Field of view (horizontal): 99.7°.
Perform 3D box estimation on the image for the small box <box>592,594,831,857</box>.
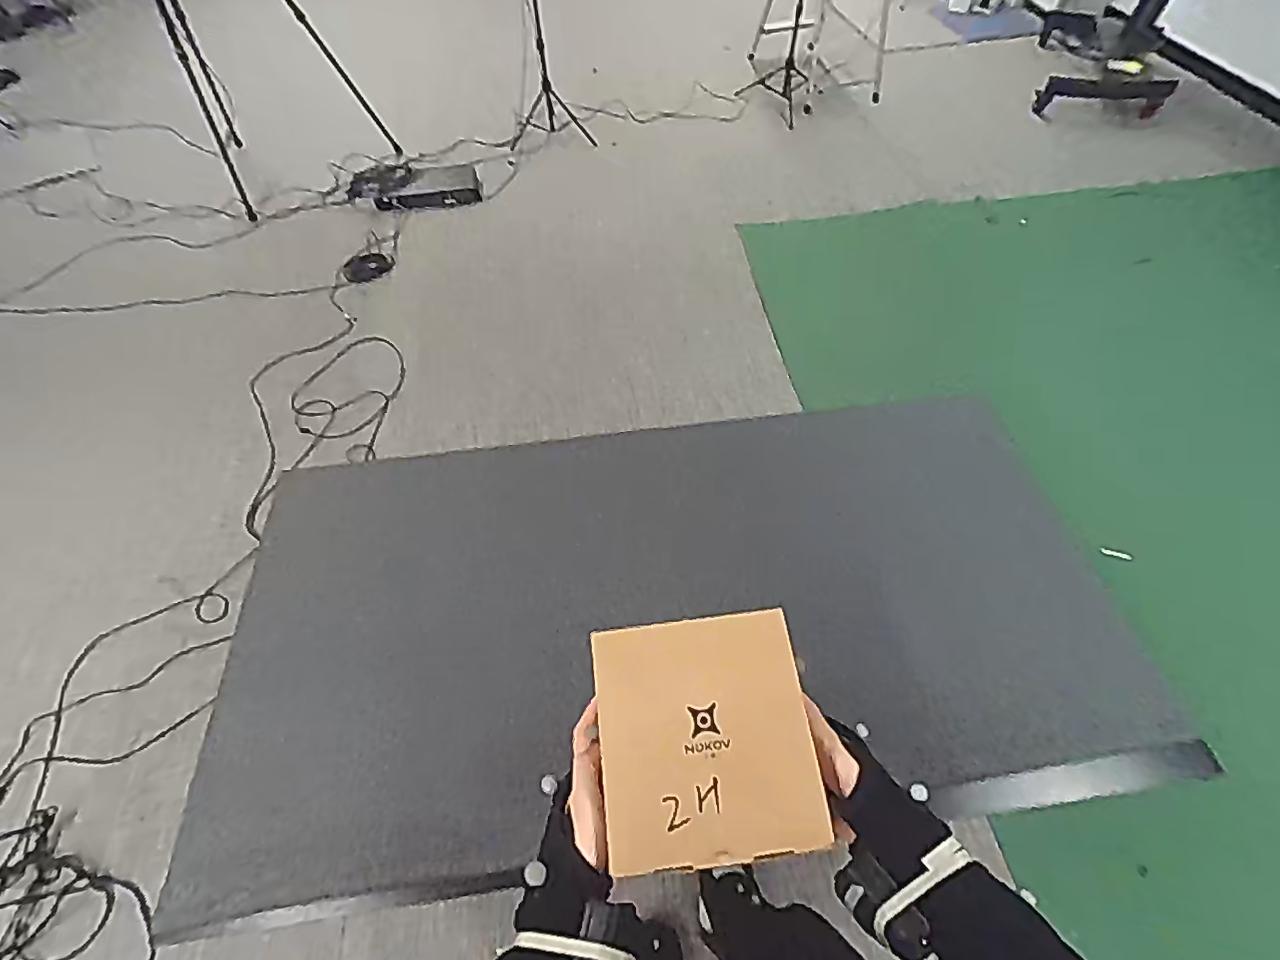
[{"bbox_3d":[0.049,0.217,0.492,0.168,0.176,0.179,-7,65,-1],"label":"small box"}]
